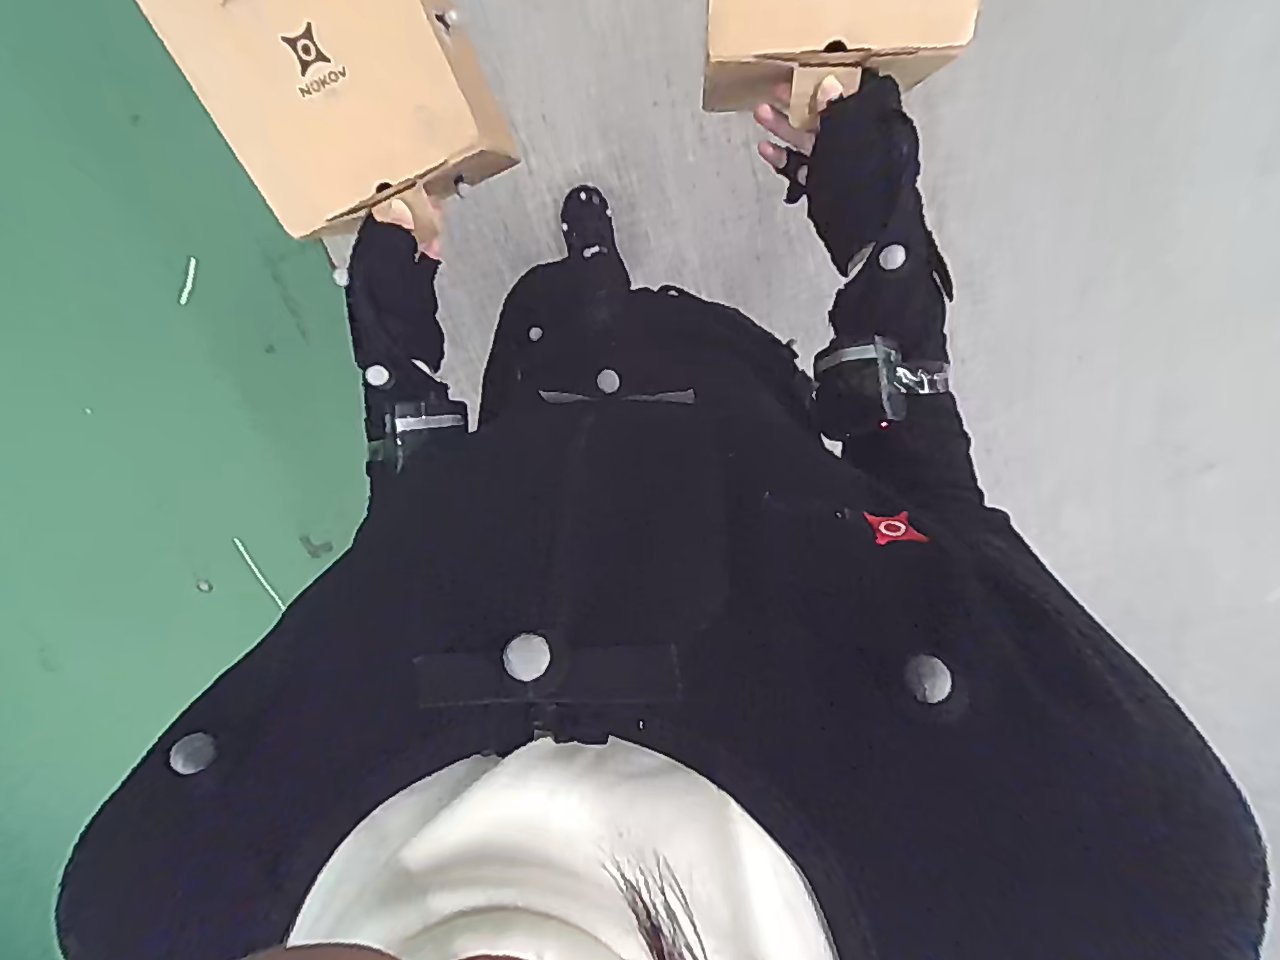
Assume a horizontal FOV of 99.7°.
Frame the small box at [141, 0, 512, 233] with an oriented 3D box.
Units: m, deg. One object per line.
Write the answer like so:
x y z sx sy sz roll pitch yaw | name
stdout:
-0.223 -0.323 0.433 0.168 0.176 0.179 -21 115 9 | small box

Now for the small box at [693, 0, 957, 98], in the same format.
0.125 -0.391 0.387 0.168 0.176 0.179 2 116 4 | small box
